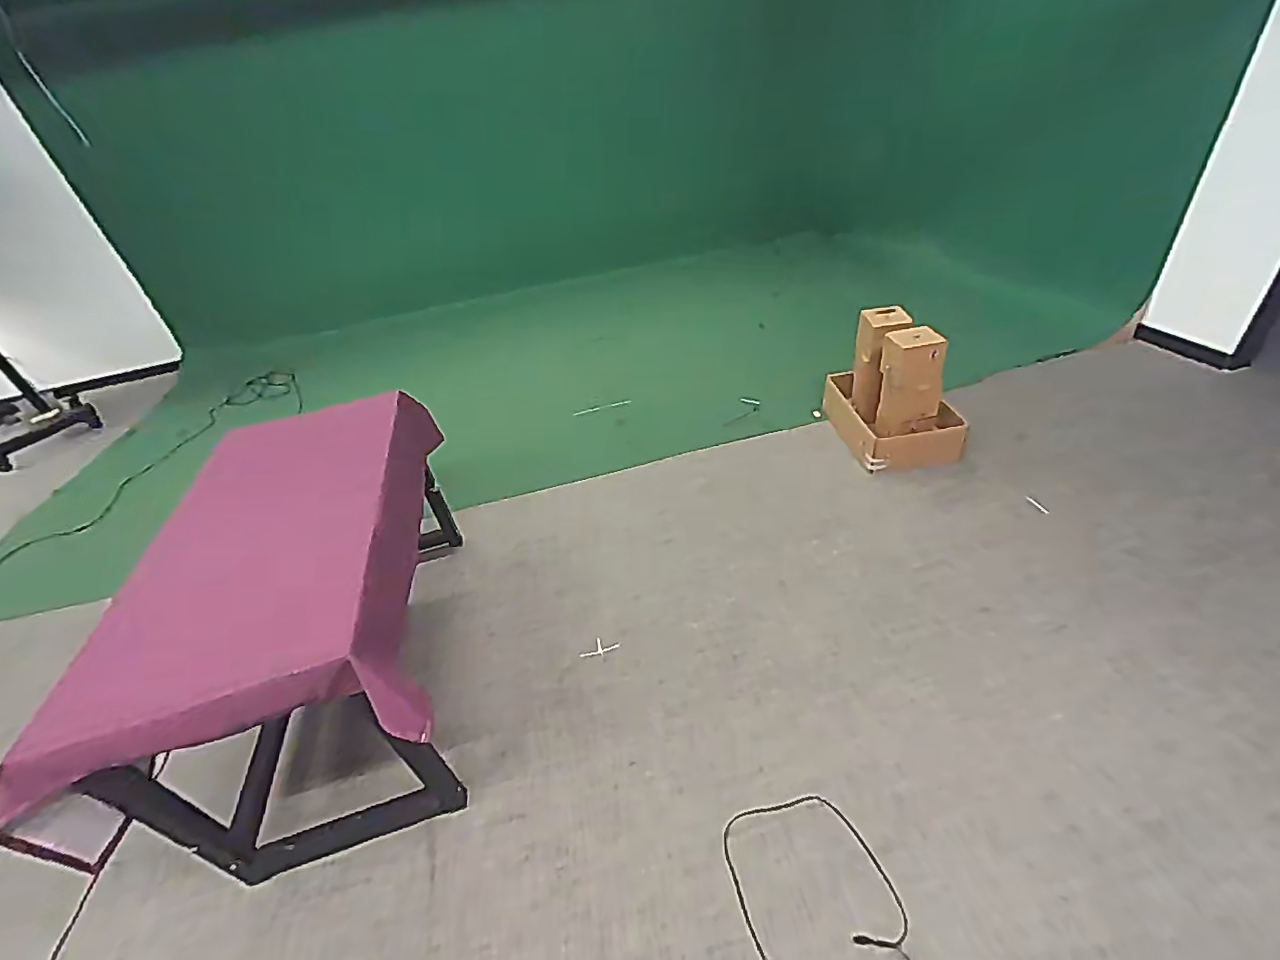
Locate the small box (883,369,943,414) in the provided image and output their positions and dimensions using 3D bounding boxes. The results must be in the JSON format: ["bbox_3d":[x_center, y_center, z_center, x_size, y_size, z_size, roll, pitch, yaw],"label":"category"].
[{"bbox_3d":[1.145,-0.390,2.278,0.168,0.176,0.179,-11,36,1],"label":"small box"}]

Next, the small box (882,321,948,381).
[{"bbox_3d":[1.105,-0.521,2.185,0.179,0.176,0.168,-11,37,2],"label":"small box"}]

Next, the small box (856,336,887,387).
[{"bbox_3d":[1.101,-0.545,2.492,0.168,0.176,0.179,-4,40,10],"label":"small box"}]
